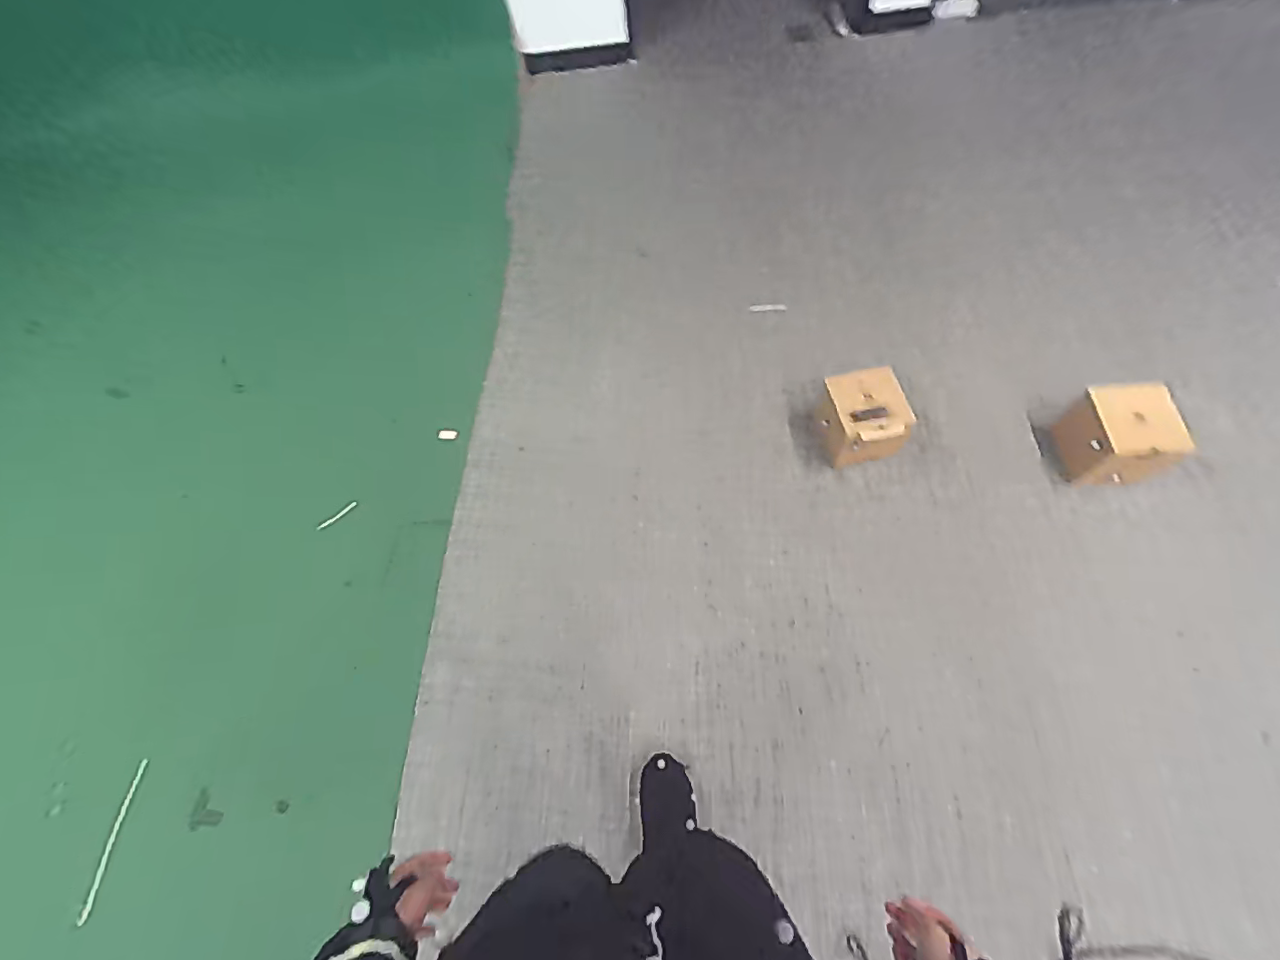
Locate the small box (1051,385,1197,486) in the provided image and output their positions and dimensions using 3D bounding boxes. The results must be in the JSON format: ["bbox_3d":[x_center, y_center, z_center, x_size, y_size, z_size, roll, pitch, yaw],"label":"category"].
[{"bbox_3d":[1.114,-0.100,1.265,0.168,0.176,0.179,-3,64,5],"label":"small box"}]
